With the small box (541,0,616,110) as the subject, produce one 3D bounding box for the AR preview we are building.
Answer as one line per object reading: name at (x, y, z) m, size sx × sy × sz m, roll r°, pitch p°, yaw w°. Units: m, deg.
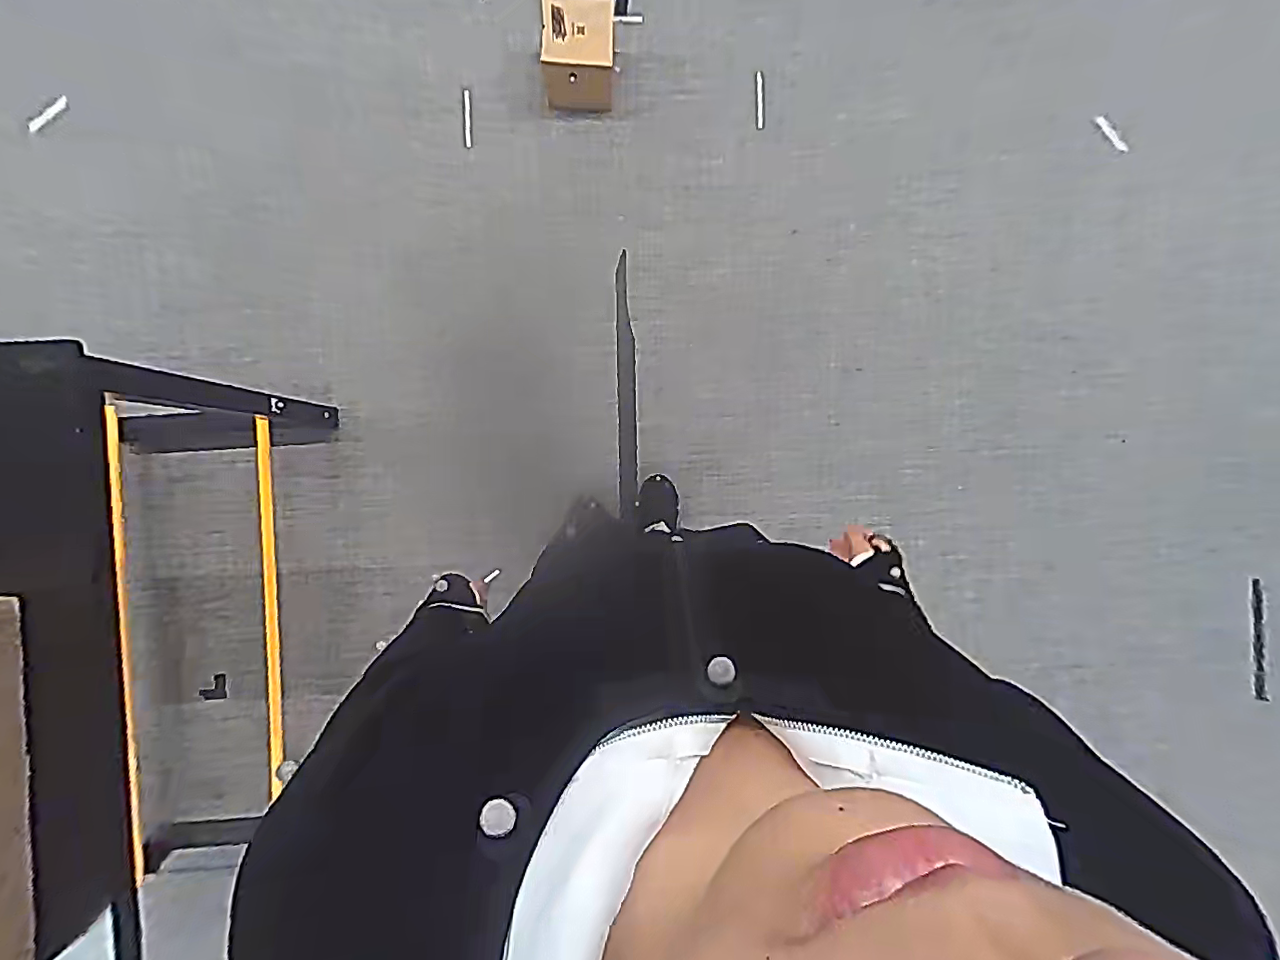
small box at (-0.152, -1.087, 1.388) m, size 0.179 × 0.176 × 0.168 m, roll 2°, pitch 91°, yaw -3°
